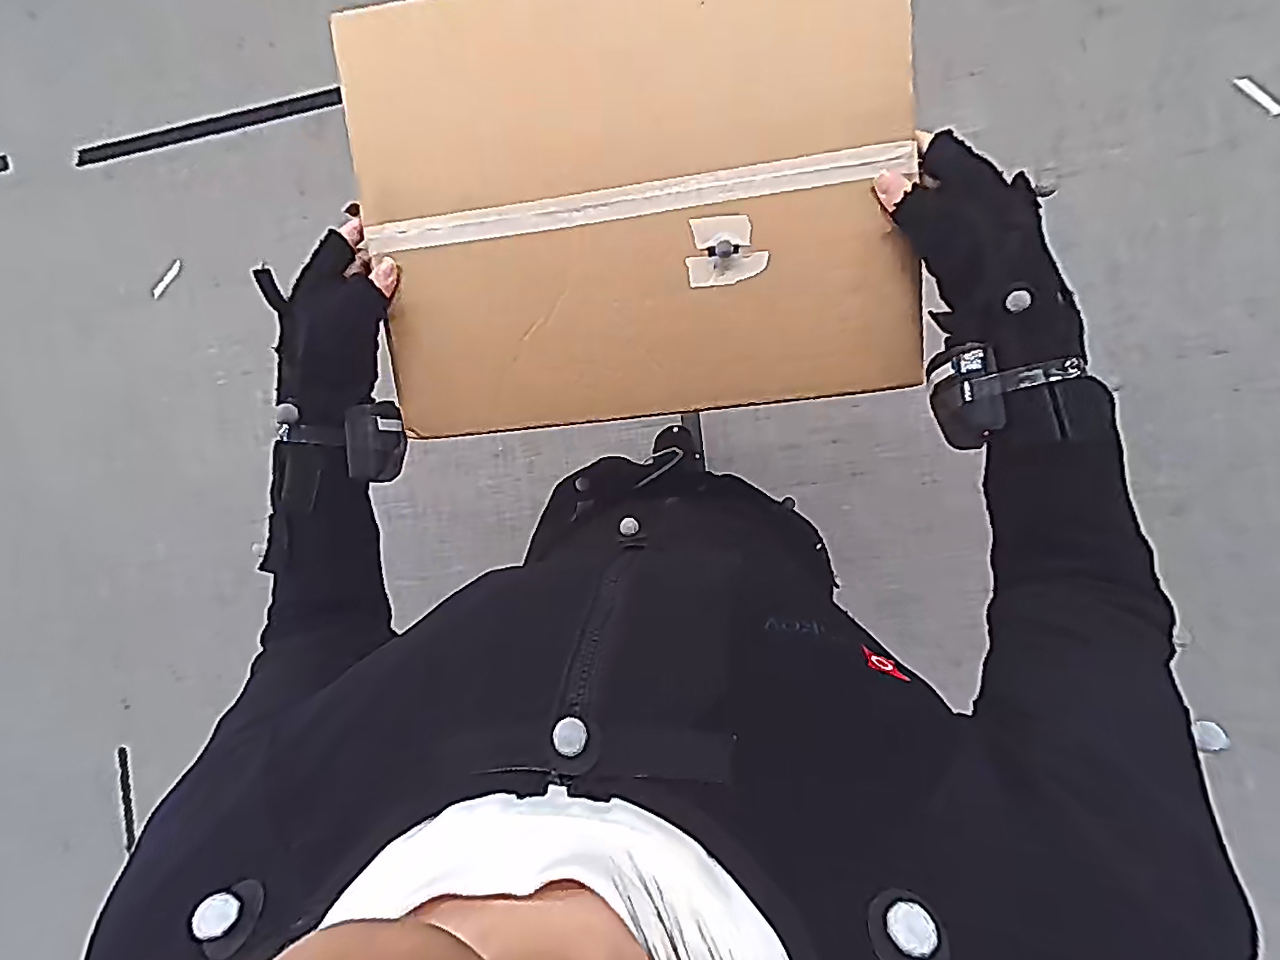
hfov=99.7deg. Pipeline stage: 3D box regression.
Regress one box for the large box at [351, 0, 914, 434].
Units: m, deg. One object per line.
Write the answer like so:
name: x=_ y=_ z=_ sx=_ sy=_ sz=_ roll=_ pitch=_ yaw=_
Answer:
large box: x=0.005 y=-0.235 z=0.556 sx=0.408 sy=0.320 sz=0.320 roll=-6 pitch=100 yaw=6
